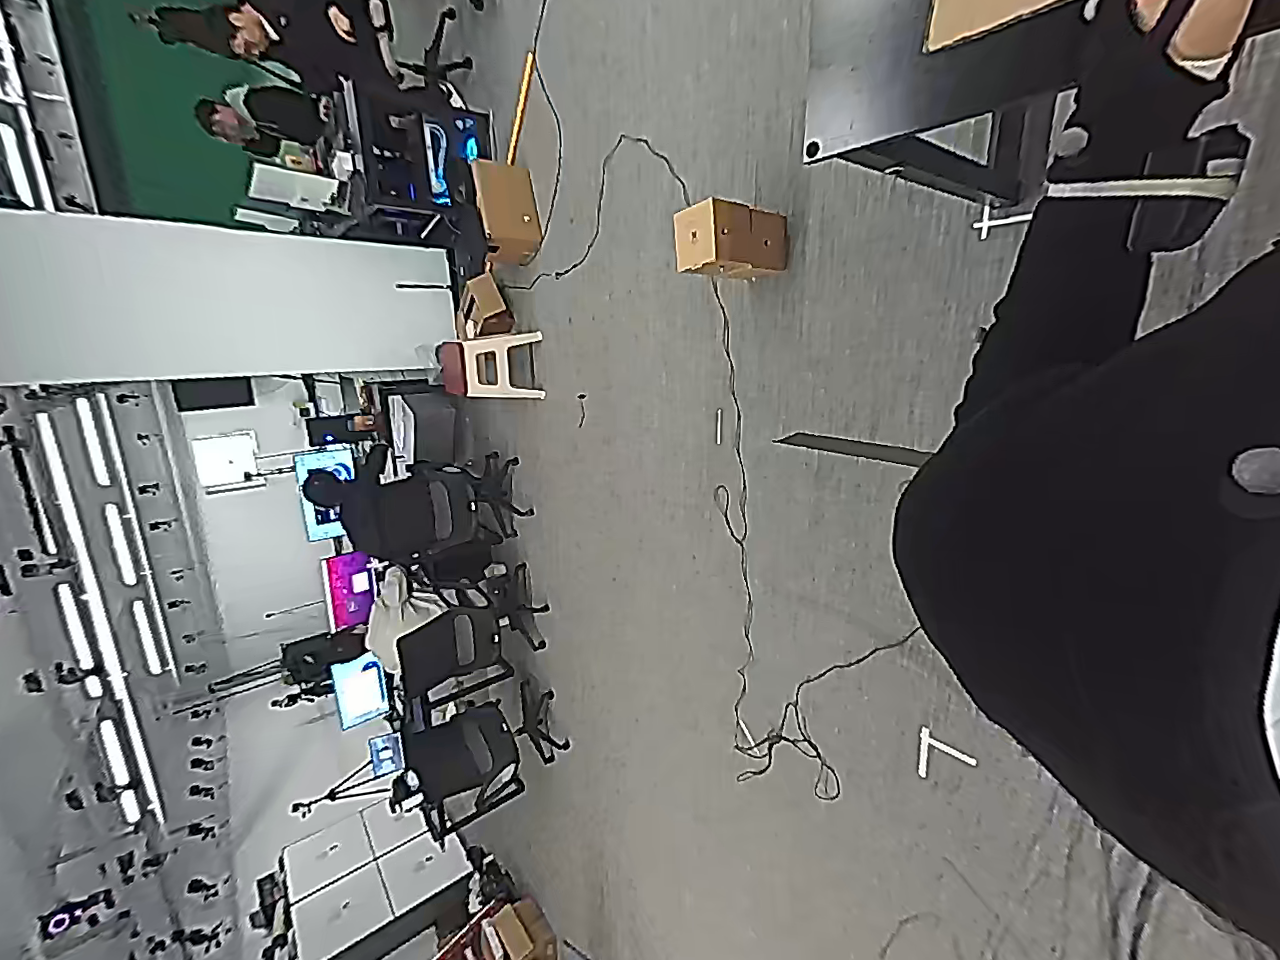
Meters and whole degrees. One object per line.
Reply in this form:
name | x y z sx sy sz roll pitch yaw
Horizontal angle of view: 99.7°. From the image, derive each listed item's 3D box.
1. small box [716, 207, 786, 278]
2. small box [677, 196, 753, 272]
small box | 0.361 -0.766 1.759 0.168 0.176 0.179 12 109 51
small box | 0.232 -0.745 1.661 0.168 0.176 0.179 7 105 51
